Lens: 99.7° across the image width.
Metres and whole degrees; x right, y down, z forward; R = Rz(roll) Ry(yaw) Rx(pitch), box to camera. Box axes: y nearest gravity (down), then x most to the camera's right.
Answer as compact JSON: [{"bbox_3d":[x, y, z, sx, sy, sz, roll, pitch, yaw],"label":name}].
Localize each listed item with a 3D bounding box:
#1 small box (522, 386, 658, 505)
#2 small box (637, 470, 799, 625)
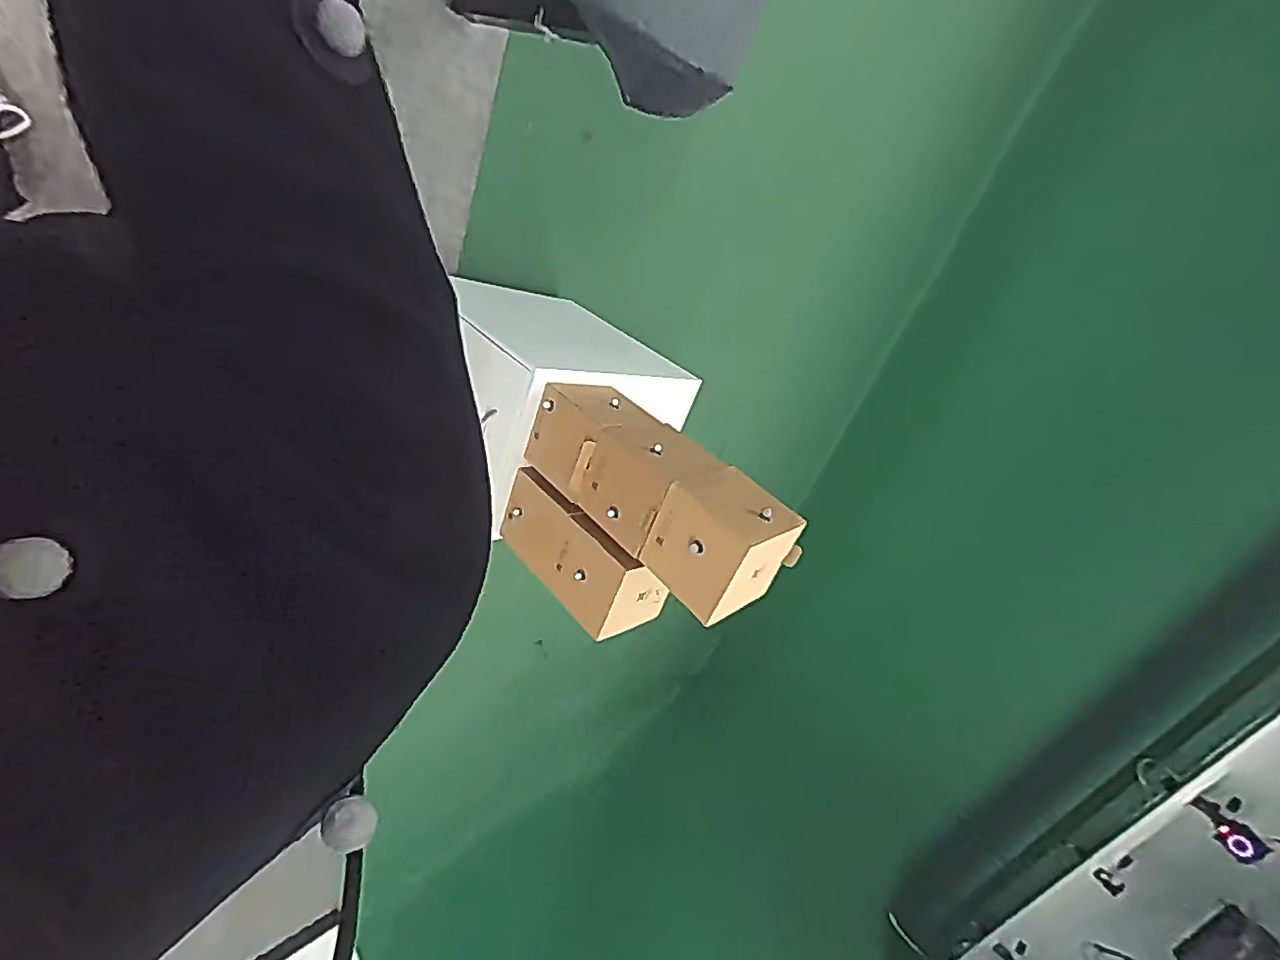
[{"bbox_3d":[-0.102,-0.073,1.053,0.179,0.176,0.168,-9,130,-49],"label":"small box"},{"bbox_3d":[0.123,0.101,0.896,0.179,0.176,0.168,-13,133,-47],"label":"small box"}]
